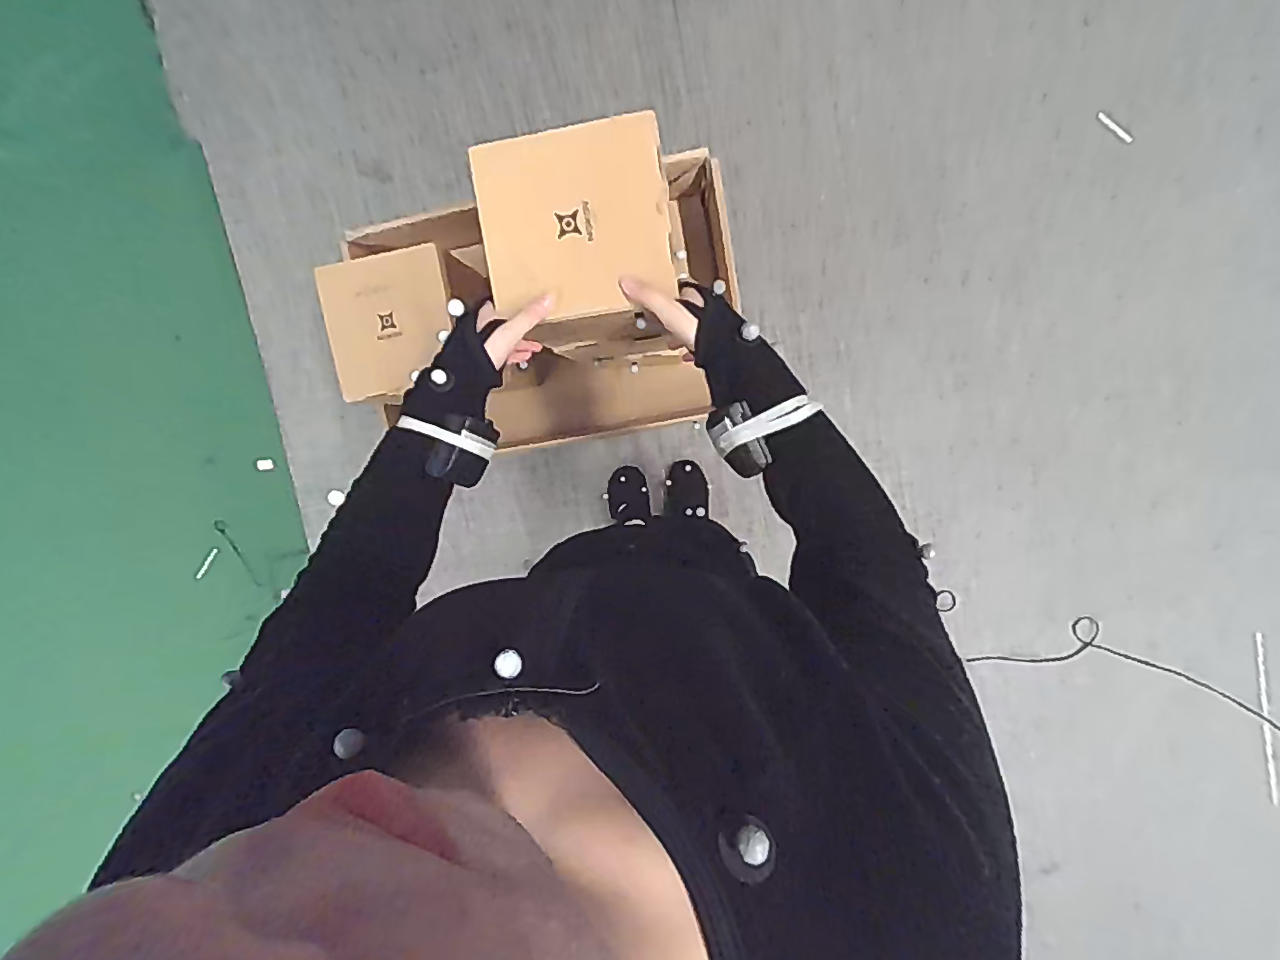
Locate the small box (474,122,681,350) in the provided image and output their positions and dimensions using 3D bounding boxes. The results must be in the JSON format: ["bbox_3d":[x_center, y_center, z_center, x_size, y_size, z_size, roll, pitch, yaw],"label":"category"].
[{"bbox_3d":[-0.052,-0.240,0.579,0.179,0.176,0.168,-7,97,5],"label":"small box"}]

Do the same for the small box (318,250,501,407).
[{"bbox_3d":[-0.312,-0.202,0.770,0.168,0.176,0.179,-8,96,6],"label":"small box"}]

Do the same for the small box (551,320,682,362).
[{"bbox_3d":[-0.033,-0.260,0.739,0.168,0.176,0.179,-6,96,6],"label":"small box"}]
